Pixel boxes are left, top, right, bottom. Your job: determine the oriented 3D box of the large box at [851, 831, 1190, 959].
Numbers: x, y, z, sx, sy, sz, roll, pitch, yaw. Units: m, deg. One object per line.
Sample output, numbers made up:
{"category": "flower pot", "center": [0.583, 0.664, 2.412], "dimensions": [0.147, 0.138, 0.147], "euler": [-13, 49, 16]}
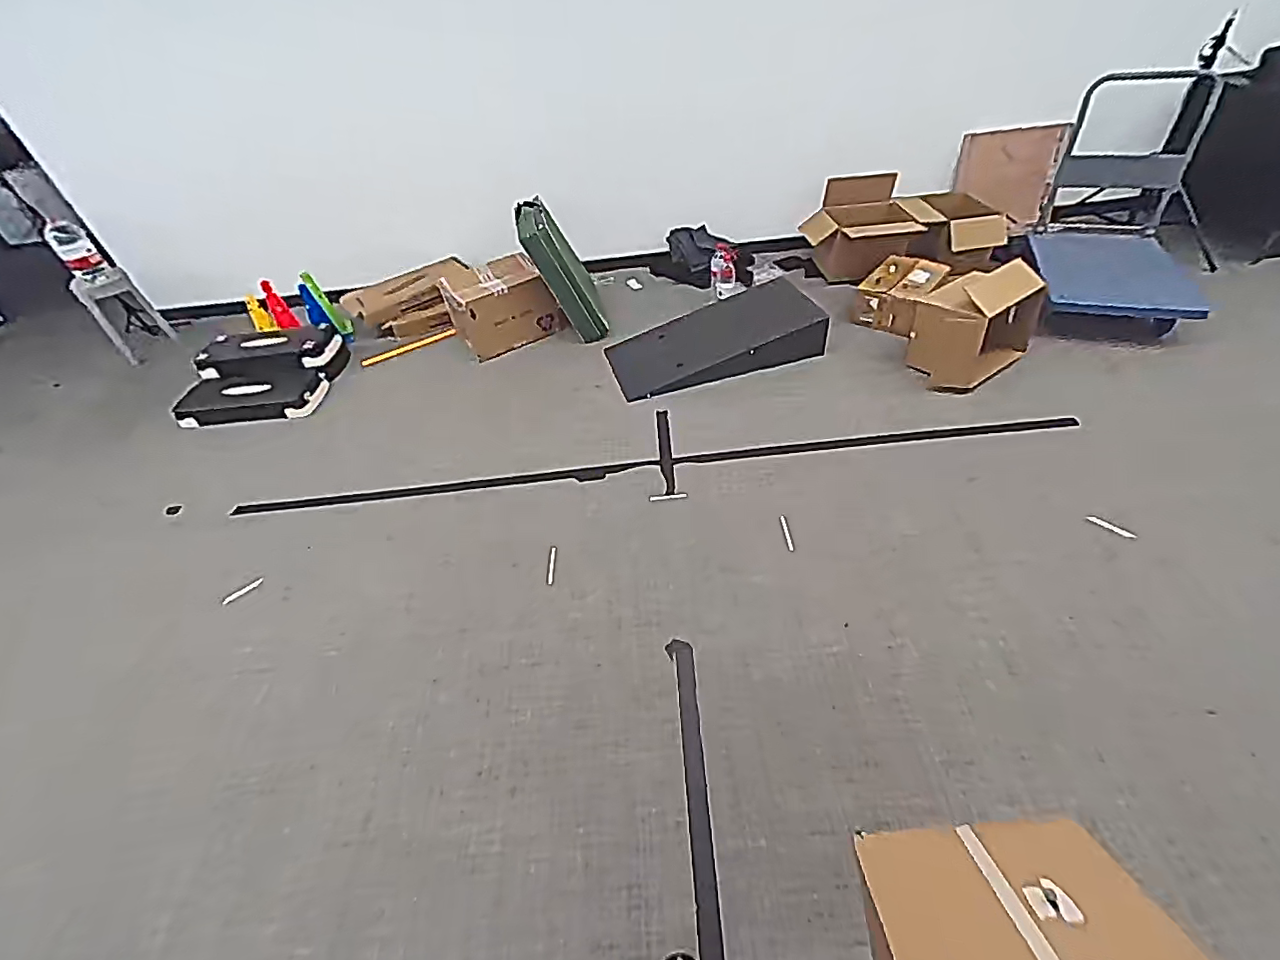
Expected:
{"category": "large box", "center": [0.468, 0.687, 0.606], "dimensions": [0.320, 0.320, 0.408], "euler": [-8, 1, 7]}
